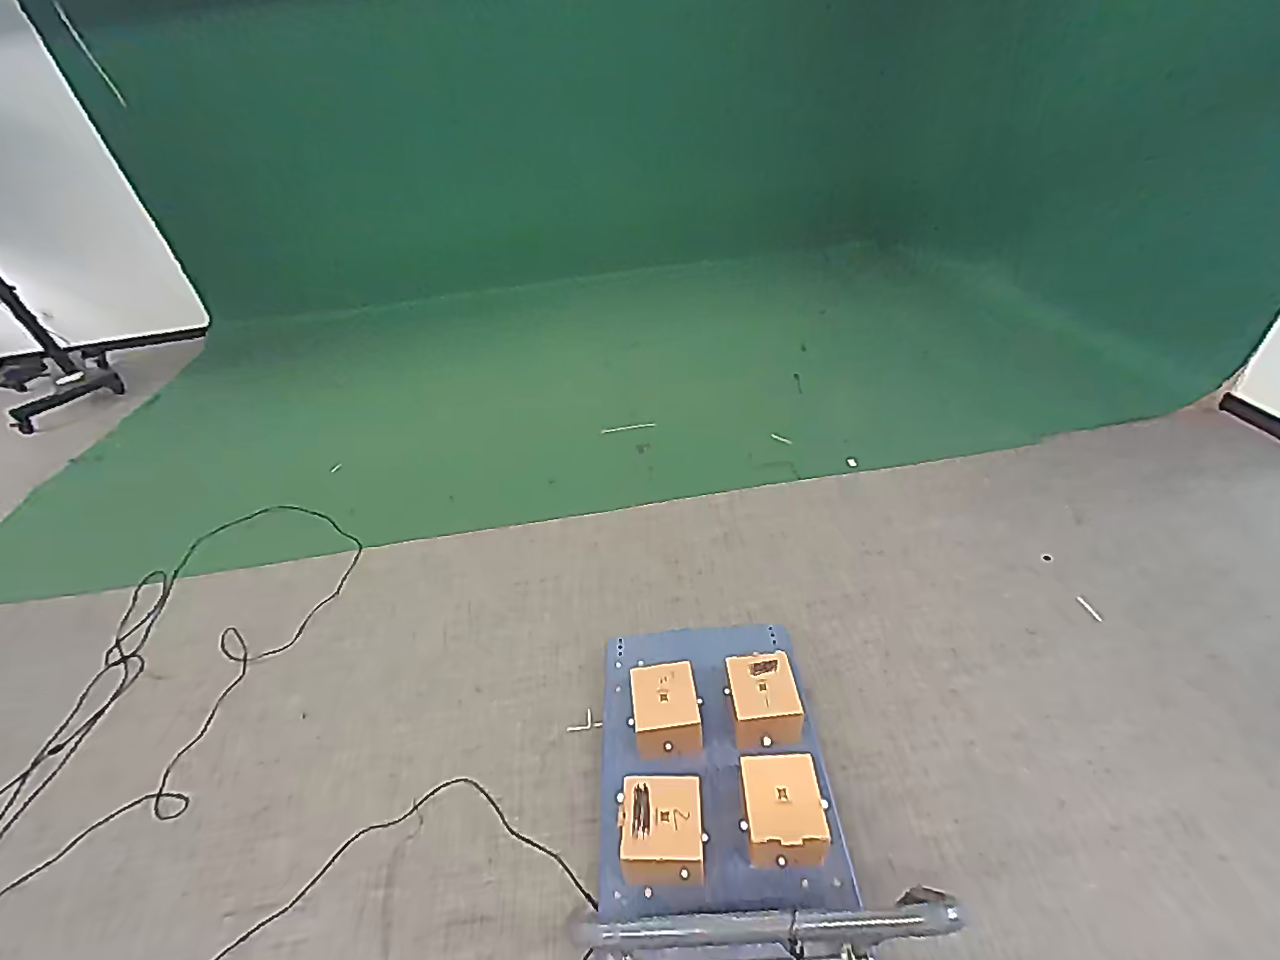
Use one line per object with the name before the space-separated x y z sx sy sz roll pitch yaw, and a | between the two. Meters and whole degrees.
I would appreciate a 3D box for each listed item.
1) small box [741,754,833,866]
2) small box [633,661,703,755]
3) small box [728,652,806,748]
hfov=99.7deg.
small box | 0.328 0.756 1.242 0.168 0.176 0.179 -4 40 3
small box | 0.075 0.615 1.446 0.168 0.176 0.179 -7 40 -1
small box | 0.330 0.586 1.441 0.168 0.176 0.179 -7 41 2
